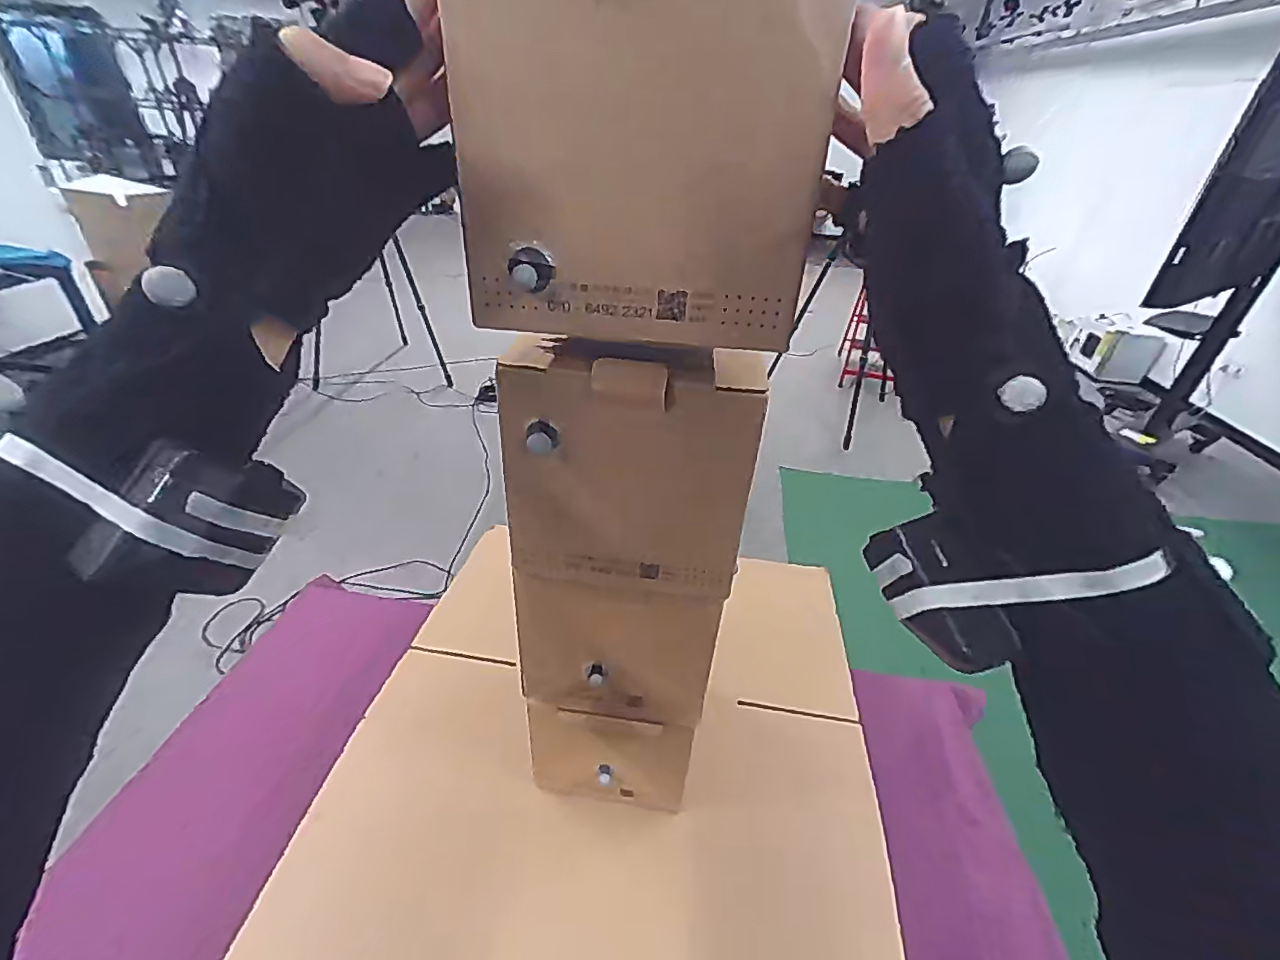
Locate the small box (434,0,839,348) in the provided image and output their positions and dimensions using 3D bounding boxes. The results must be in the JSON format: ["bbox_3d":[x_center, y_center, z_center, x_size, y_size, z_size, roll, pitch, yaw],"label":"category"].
[{"bbox_3d":[0.006,-0.184,0.311,0.168,0.176,0.179,6,32,4],"label":"small box"}]

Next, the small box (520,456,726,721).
[{"bbox_3d":[-0.010,0.099,0.528,0.168,0.176,0.179,7,34,4],"label":"small box"}]

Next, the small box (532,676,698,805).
[{"bbox_3d":[-0.017,0.232,0.623,0.168,0.176,0.179,7,34,6],"label":"small box"}]
